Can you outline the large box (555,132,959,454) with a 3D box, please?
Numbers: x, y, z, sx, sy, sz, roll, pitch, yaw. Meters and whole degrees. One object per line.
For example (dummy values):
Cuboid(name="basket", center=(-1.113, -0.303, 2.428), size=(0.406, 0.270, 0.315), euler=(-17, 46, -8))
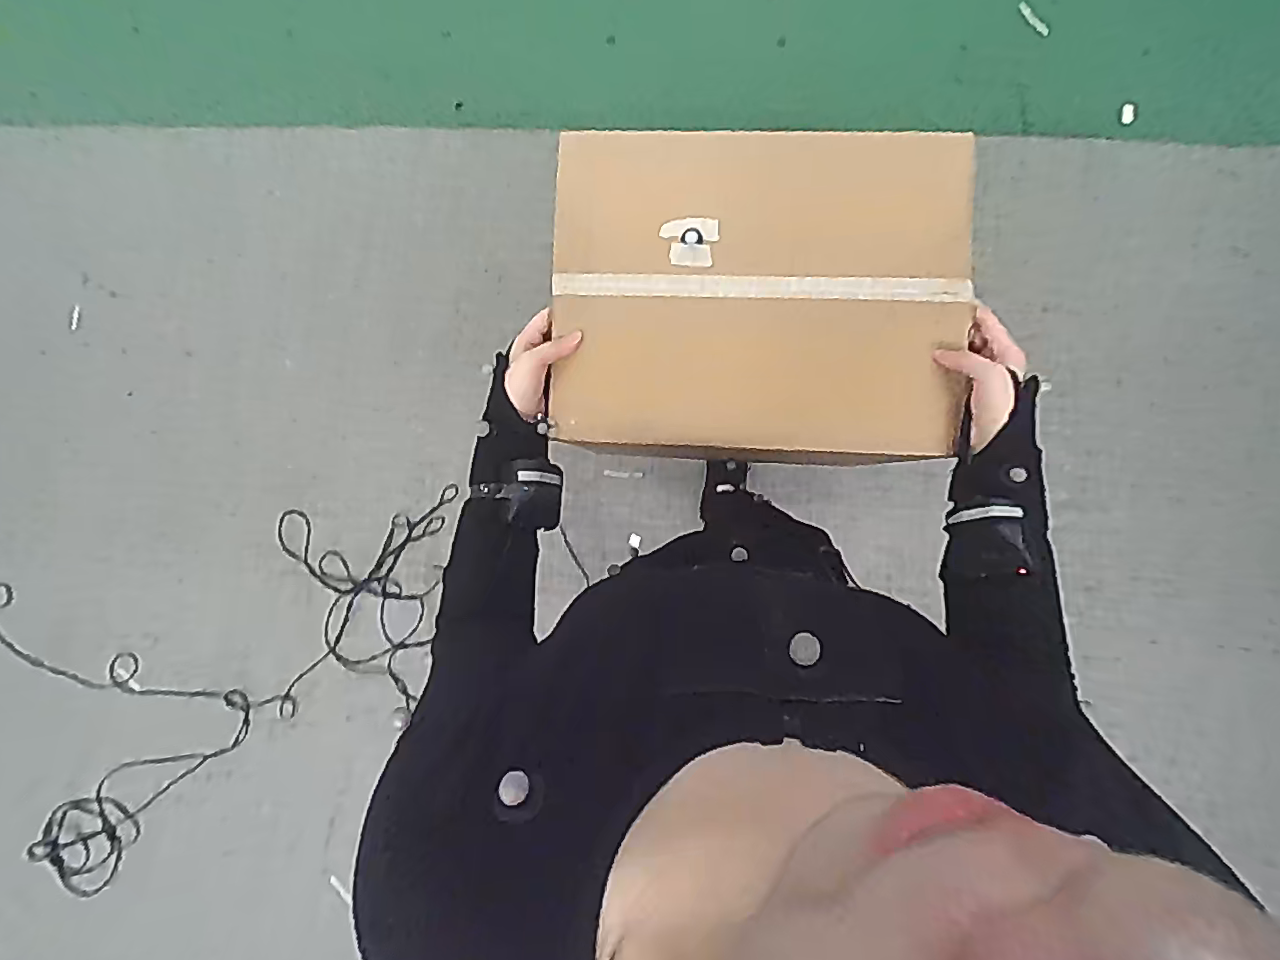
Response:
Cuboid(name="large box", center=(0.127, -0.193, 0.695), size=(0.408, 0.320, 0.320), euler=(2, 90, 5))
